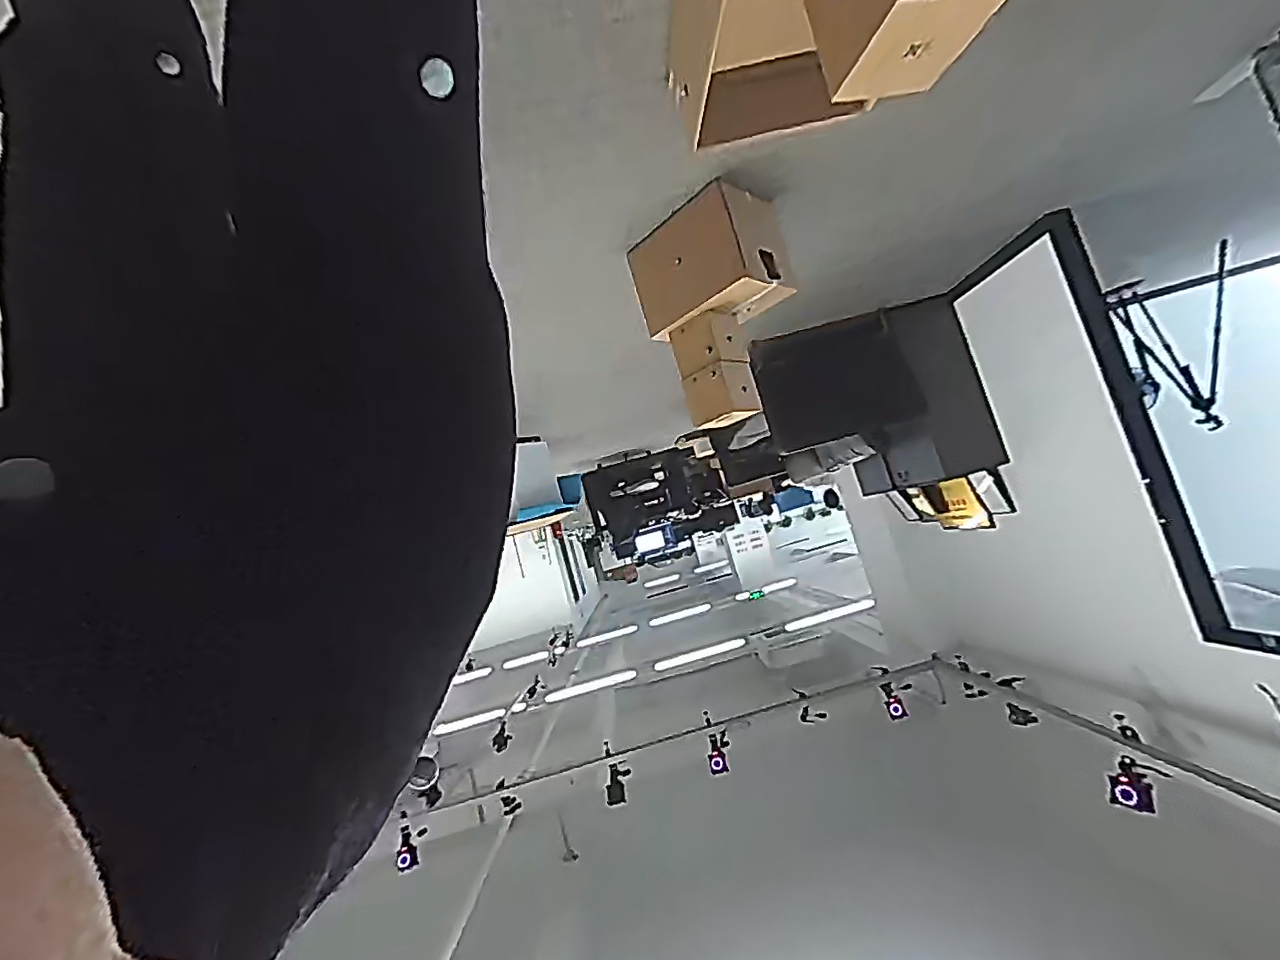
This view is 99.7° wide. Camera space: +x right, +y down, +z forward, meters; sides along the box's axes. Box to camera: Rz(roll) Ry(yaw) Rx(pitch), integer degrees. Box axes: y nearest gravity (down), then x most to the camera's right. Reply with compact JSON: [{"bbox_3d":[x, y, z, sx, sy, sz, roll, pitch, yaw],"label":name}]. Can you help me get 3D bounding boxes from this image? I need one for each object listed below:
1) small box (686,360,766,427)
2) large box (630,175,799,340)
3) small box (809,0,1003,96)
[{"bbox_3d":[0.274,-0.282,1.754,0.179,0.176,0.168,-11,172,-46],"label":"small box"},{"bbox_3d":[0.233,-0.698,1.769,0.320,0.320,0.408,-12,172,-45],"label":"large box"},{"bbox_3d":[0.366,-0.685,0.753,0.179,0.176,0.168,-14,177,-11],"label":"small box"}]
